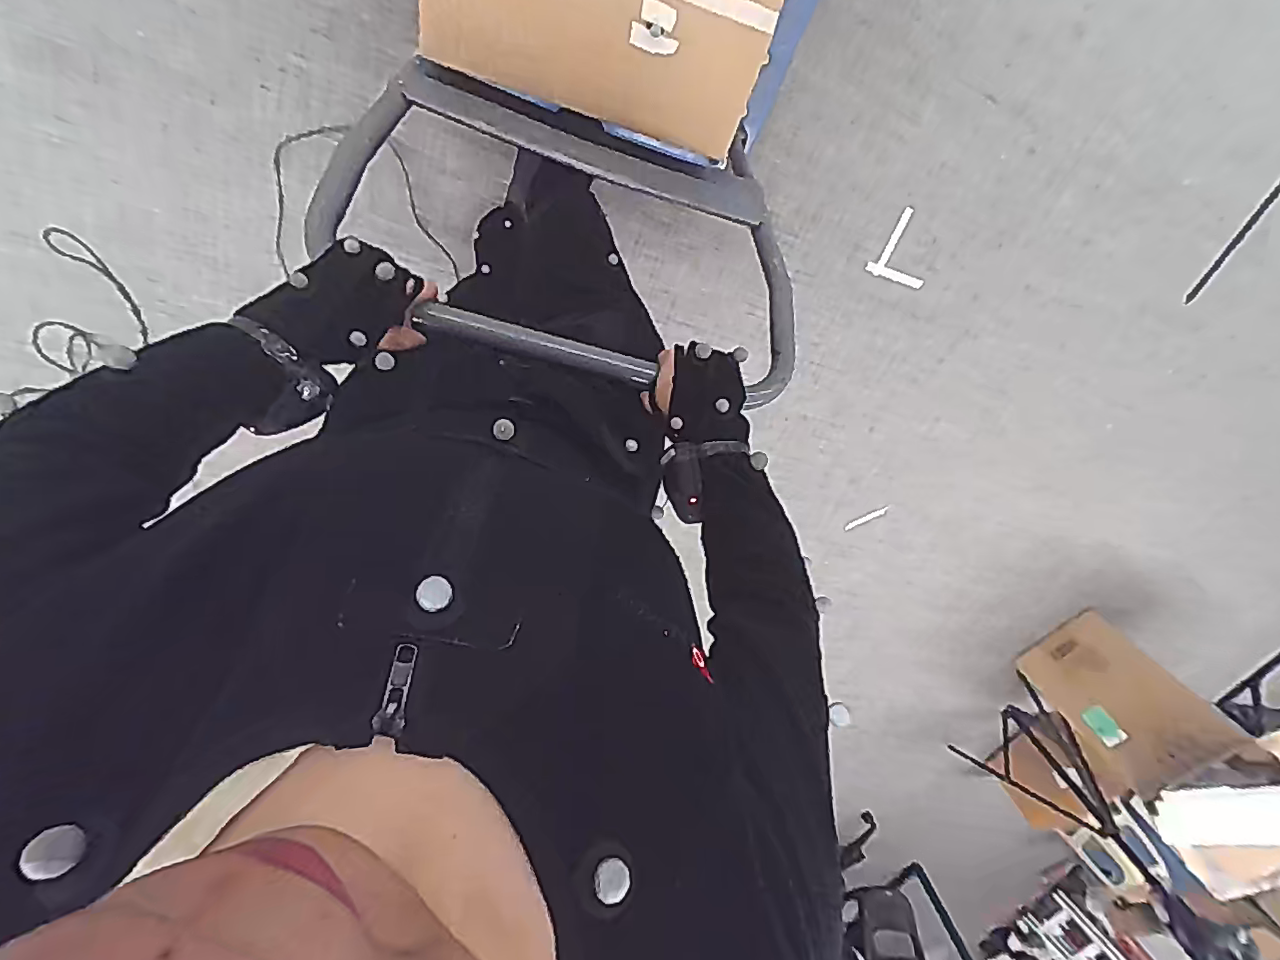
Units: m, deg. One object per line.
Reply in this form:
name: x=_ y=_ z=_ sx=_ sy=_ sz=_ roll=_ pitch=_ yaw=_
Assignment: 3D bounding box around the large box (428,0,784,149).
large box: x=-0.032 y=-0.694 z=0.689 sx=0.408 sy=0.320 sz=0.320 roll=10 pitch=139 yaw=-14
